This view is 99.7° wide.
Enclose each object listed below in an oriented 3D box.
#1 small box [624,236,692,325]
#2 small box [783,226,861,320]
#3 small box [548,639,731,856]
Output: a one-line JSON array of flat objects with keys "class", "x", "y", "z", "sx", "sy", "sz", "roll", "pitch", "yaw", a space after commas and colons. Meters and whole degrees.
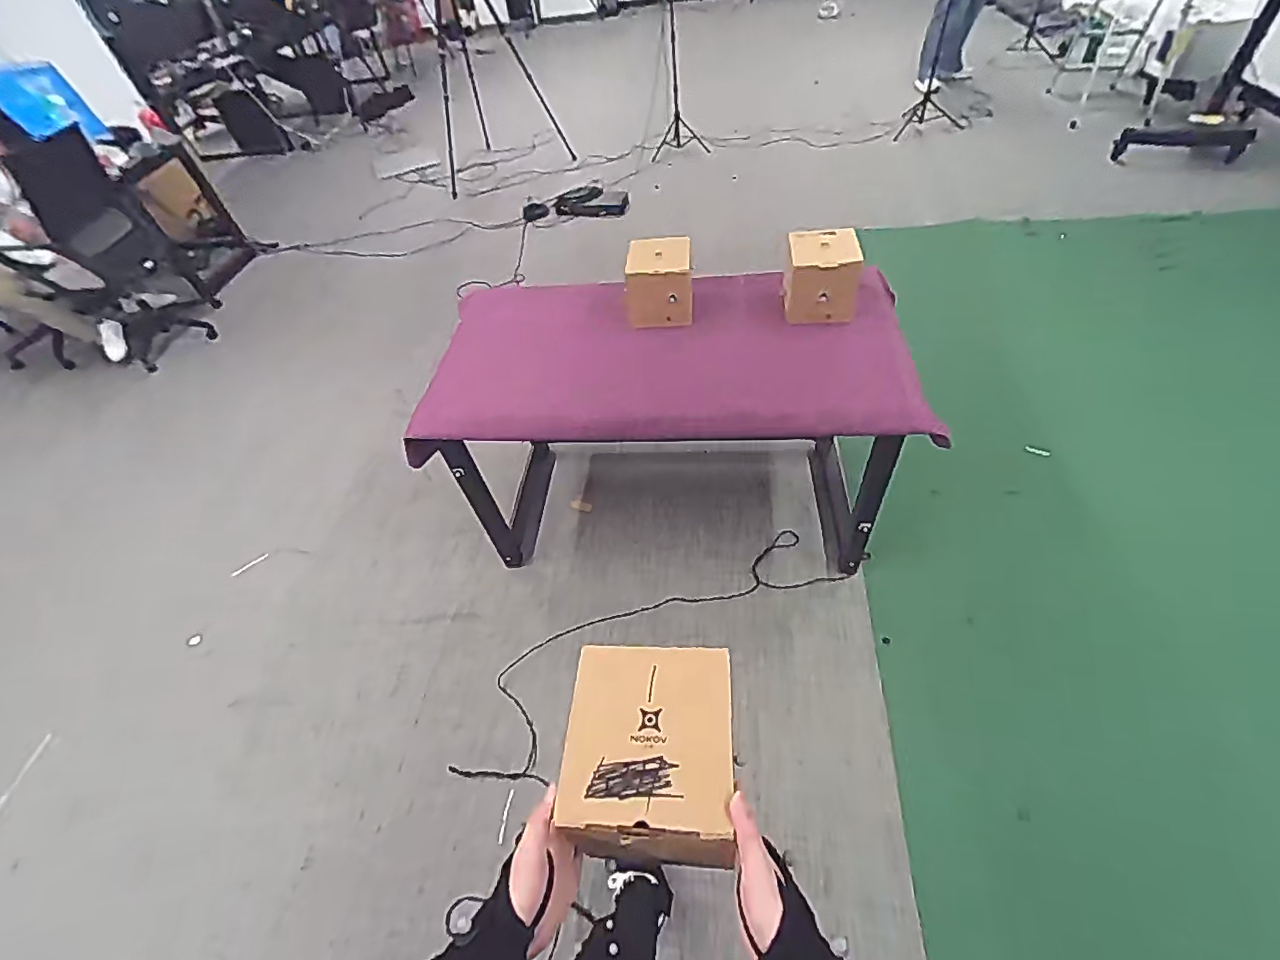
[{"class": "small box", "x": 0.057, "y": -0.540, "z": 1.480, "sx": 0.168, "sy": 0.176, "sz": 0.179, "roll": 0, "pitch": 50, "yaw": 8}, {"class": "small box", "x": 0.467, "y": -0.532, "z": 1.407, "sx": 0.168, "sy": 0.176, "sz": 0.179, "roll": 0, "pitch": 51, "yaw": 9}, {"class": "small box", "x": 0.014, "y": 0.294, "z": 0.595, "sx": 0.168, "sy": 0.176, "sz": 0.179, "roll": -2, "pitch": 46, "yaw": 9}]
